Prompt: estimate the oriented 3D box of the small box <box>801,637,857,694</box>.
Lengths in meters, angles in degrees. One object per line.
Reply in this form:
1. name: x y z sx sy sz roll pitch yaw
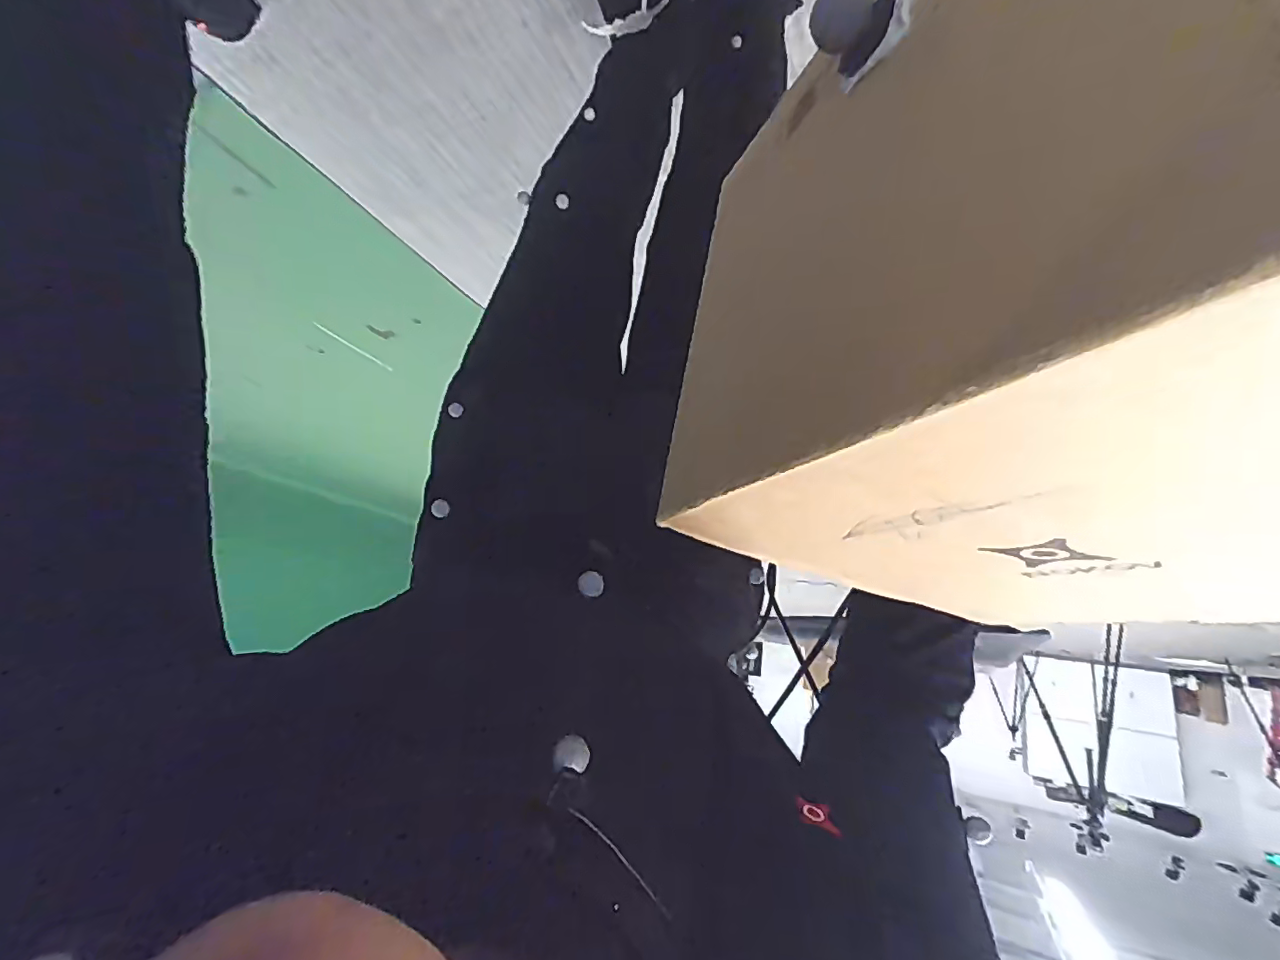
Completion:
1. small box: 0.691 0.675 1.969 0.168 0.176 0.179 -1 161 29
